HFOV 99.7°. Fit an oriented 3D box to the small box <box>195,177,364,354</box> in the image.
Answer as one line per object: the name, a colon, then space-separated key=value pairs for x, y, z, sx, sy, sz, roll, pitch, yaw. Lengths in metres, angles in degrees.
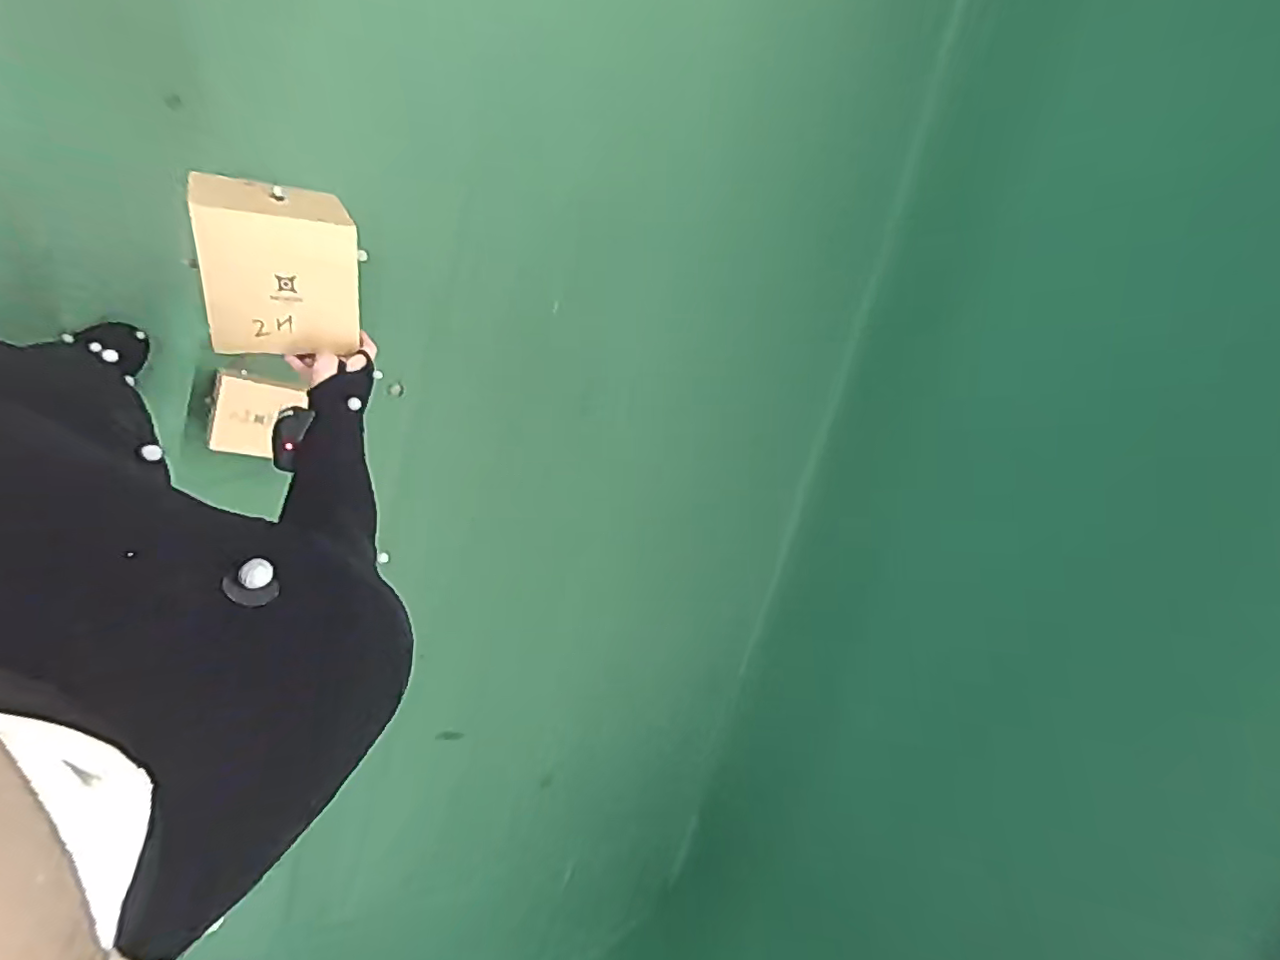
small box: x=-0.474 y=-0.283 z=0.718 sx=0.168 sy=0.176 sz=0.179 roll=-8 pitch=129 yaw=-33
